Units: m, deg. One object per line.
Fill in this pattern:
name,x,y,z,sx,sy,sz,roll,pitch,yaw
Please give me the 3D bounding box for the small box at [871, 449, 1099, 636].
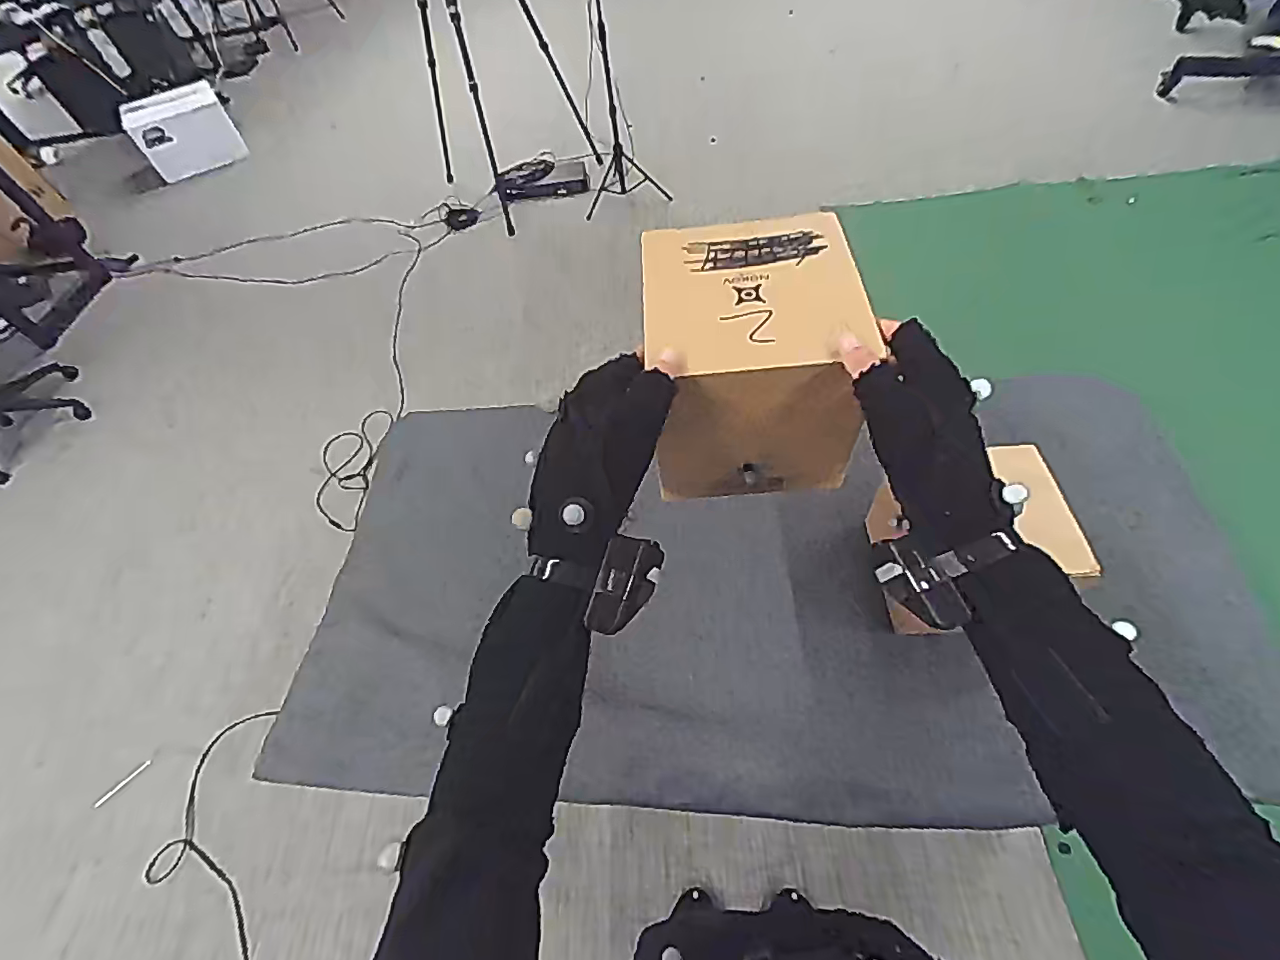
small box,0.407,0.082,0.681,0.168,0.176,0.179,-3,54,7
